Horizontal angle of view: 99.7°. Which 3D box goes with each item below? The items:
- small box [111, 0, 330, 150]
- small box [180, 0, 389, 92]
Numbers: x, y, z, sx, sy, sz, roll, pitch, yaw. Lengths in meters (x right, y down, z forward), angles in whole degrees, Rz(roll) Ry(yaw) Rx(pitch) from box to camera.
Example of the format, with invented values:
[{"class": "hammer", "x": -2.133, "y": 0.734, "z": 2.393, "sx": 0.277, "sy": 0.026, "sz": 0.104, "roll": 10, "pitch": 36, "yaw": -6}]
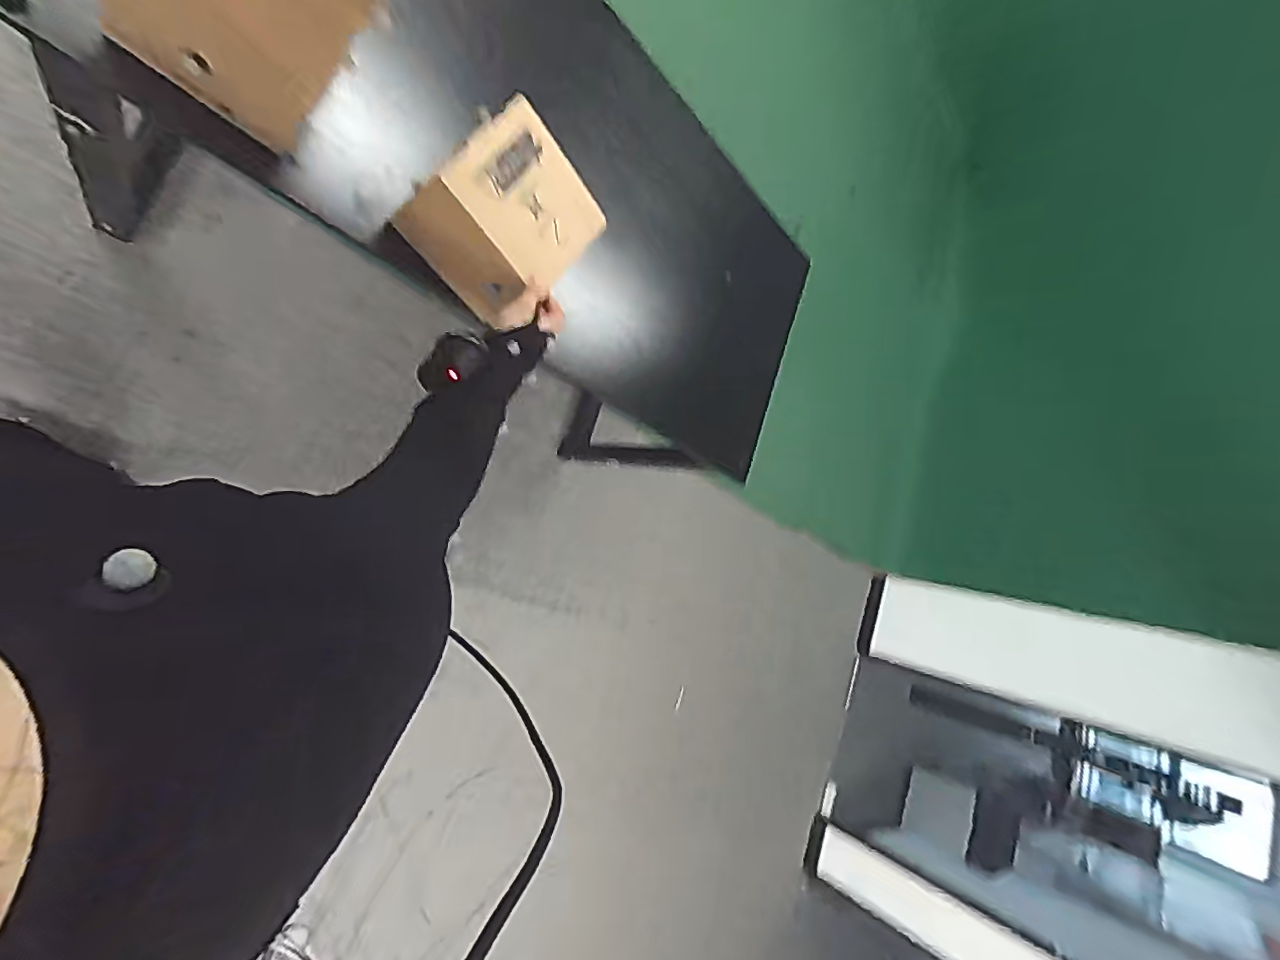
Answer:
[{"class": "small box", "x": -0.380, "y": -0.474, "z": 0.532, "sx": 0.168, "sy": 0.176, "sz": 0.179, "roll": 30, "pitch": 74, "yaw": -40}, {"class": "small box", "x": -0.274, "y": -0.444, "z": 0.412, "sx": 0.179, "sy": 0.176, "sz": 0.168, "roll": 30, "pitch": 75, "yaw": -39}]
